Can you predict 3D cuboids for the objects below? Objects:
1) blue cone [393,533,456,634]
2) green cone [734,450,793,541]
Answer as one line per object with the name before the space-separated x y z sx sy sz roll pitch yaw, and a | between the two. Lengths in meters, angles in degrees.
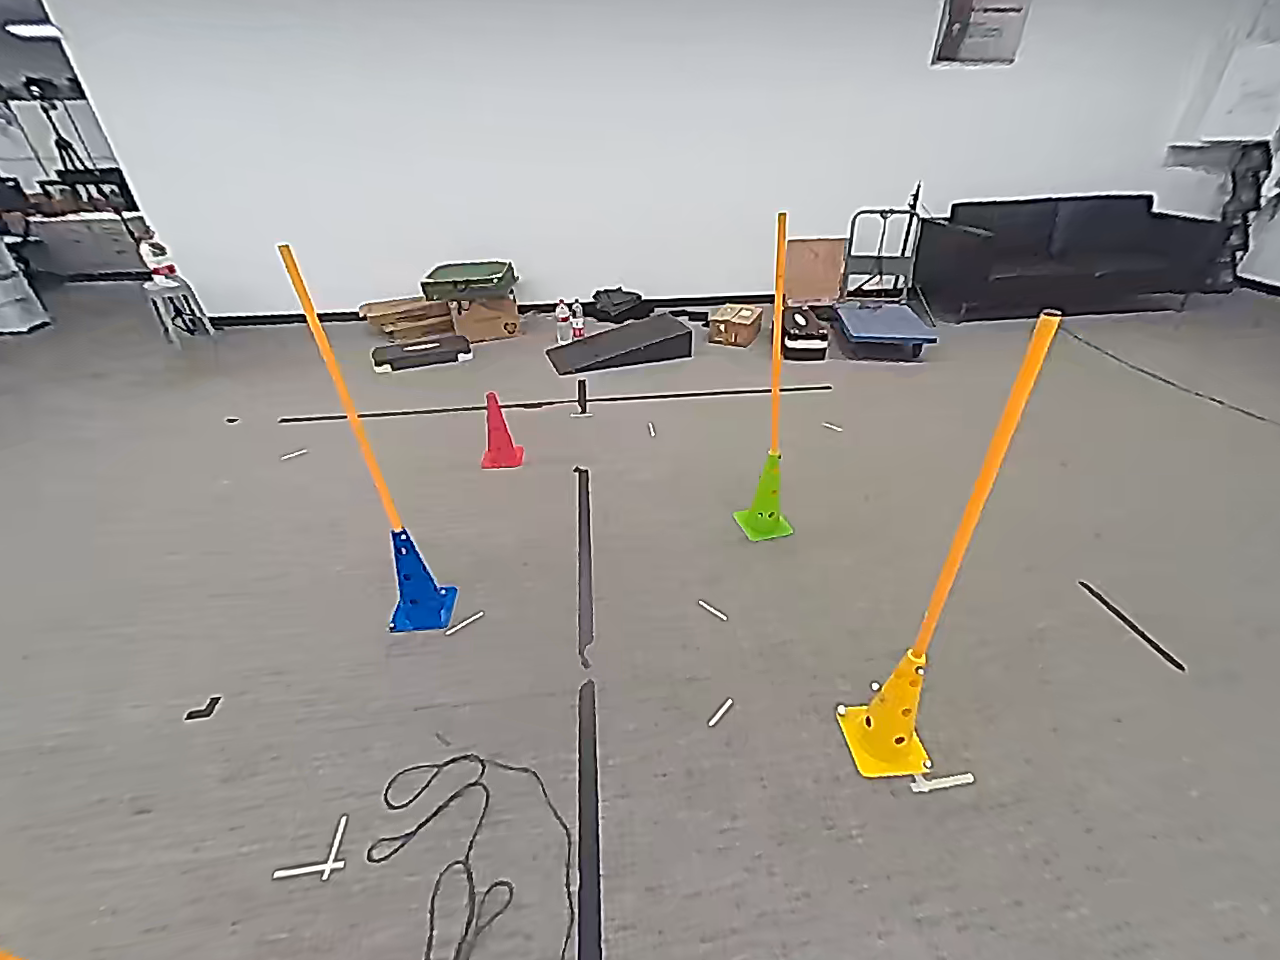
blue cone | -0.759 0.328 1.814 0.193 0.380 0.192 -3 34 -2
green cone | 0.519 0.039 2.199 0.200 0.368 0.202 -10 36 -13
